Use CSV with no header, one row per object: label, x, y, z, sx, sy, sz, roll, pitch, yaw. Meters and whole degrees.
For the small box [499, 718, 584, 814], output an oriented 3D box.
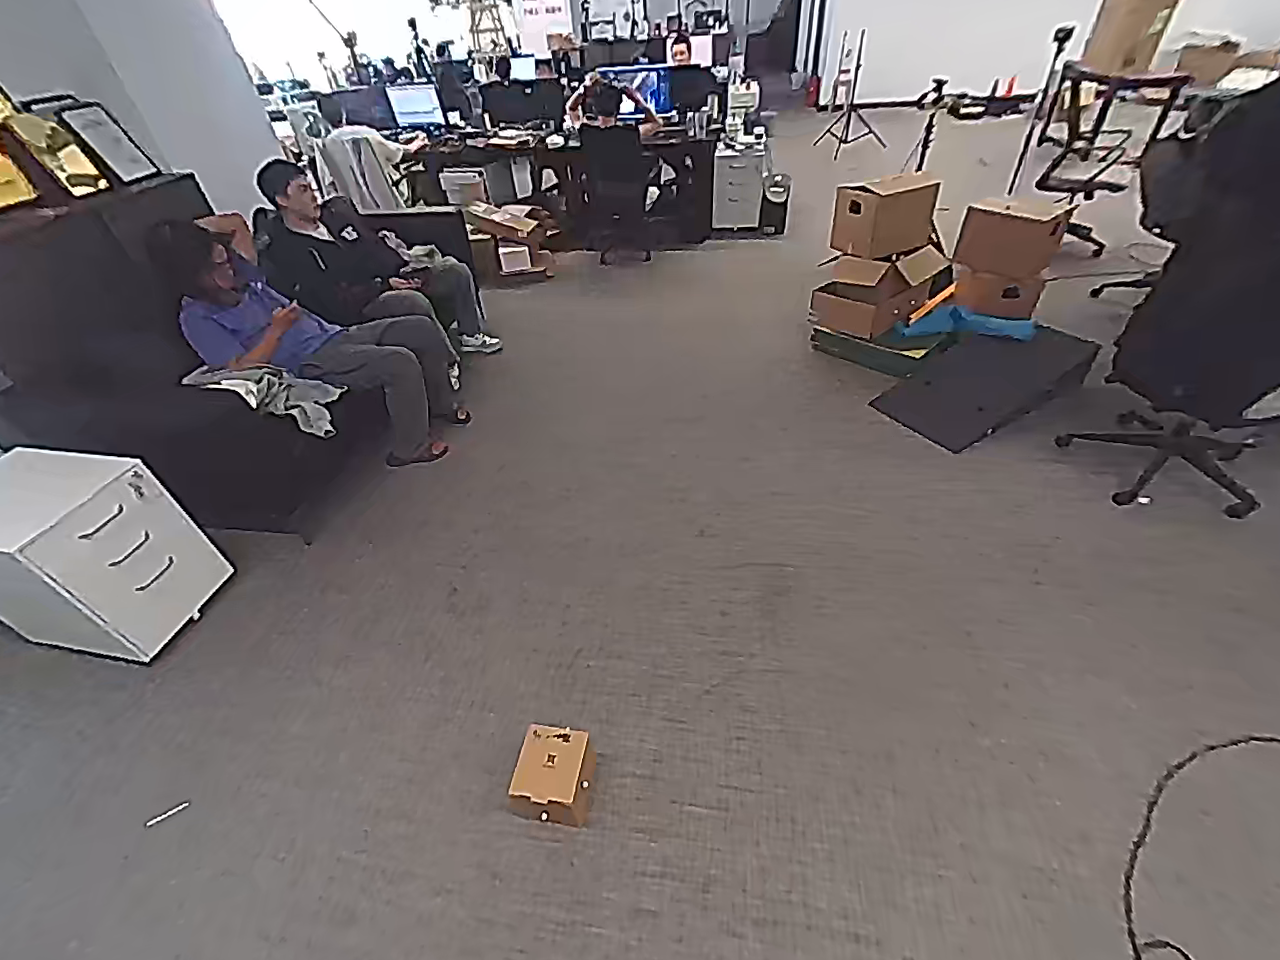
small box,-0.252,0.760,1.432,0.168,0.176,0.179,2,42,8
